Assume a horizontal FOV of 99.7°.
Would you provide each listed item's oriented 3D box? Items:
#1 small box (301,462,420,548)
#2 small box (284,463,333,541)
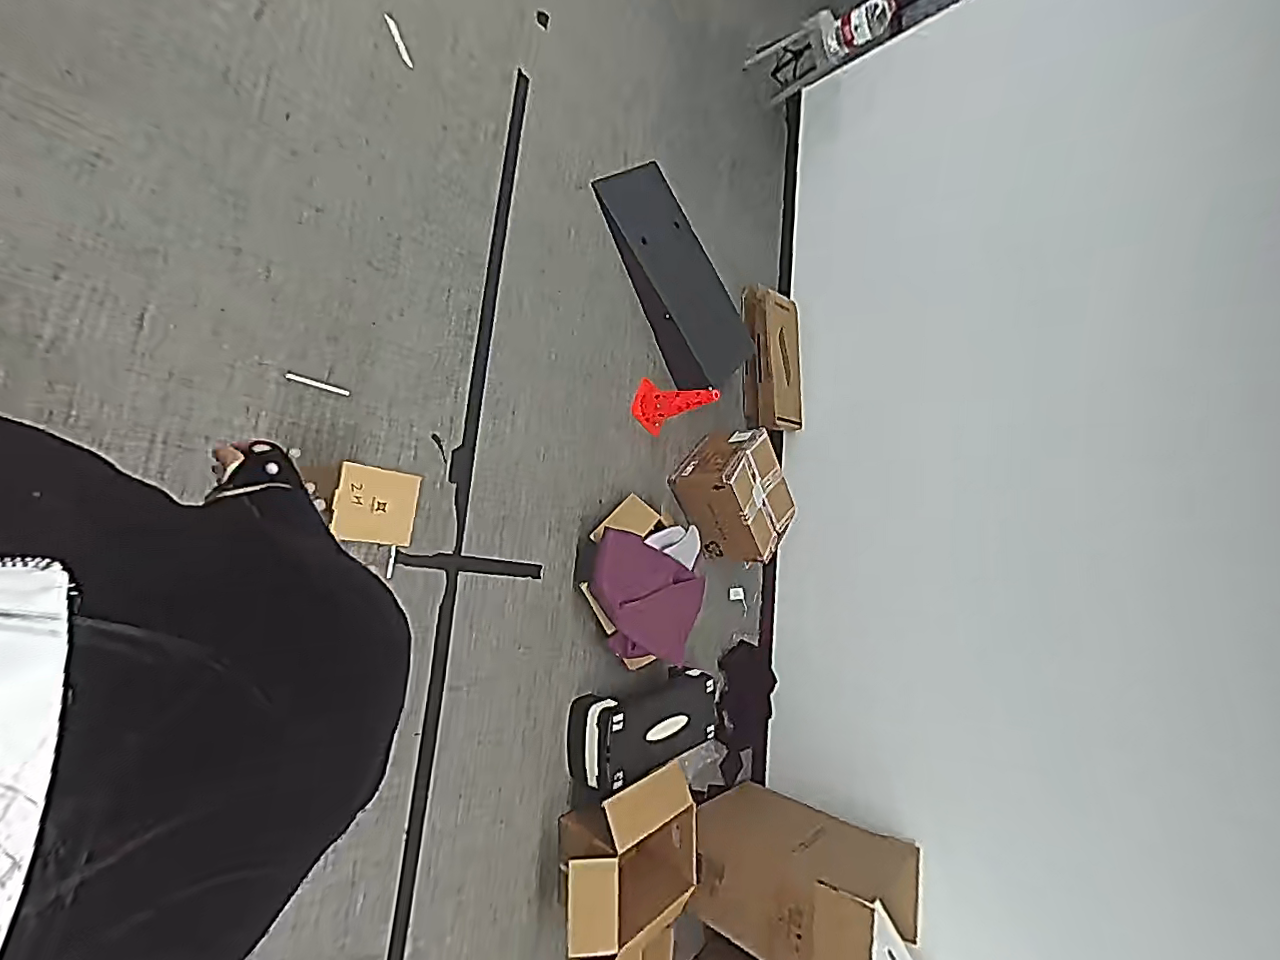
[{"bbox_3d":[-0.637,0.060,1.234,0.179,0.176,0.168,17,75,-46],"label":"small box"},{"bbox_3d":[-0.760,0.061,1.344,0.168,0.176,0.179,12,80,-47],"label":"small box"}]
